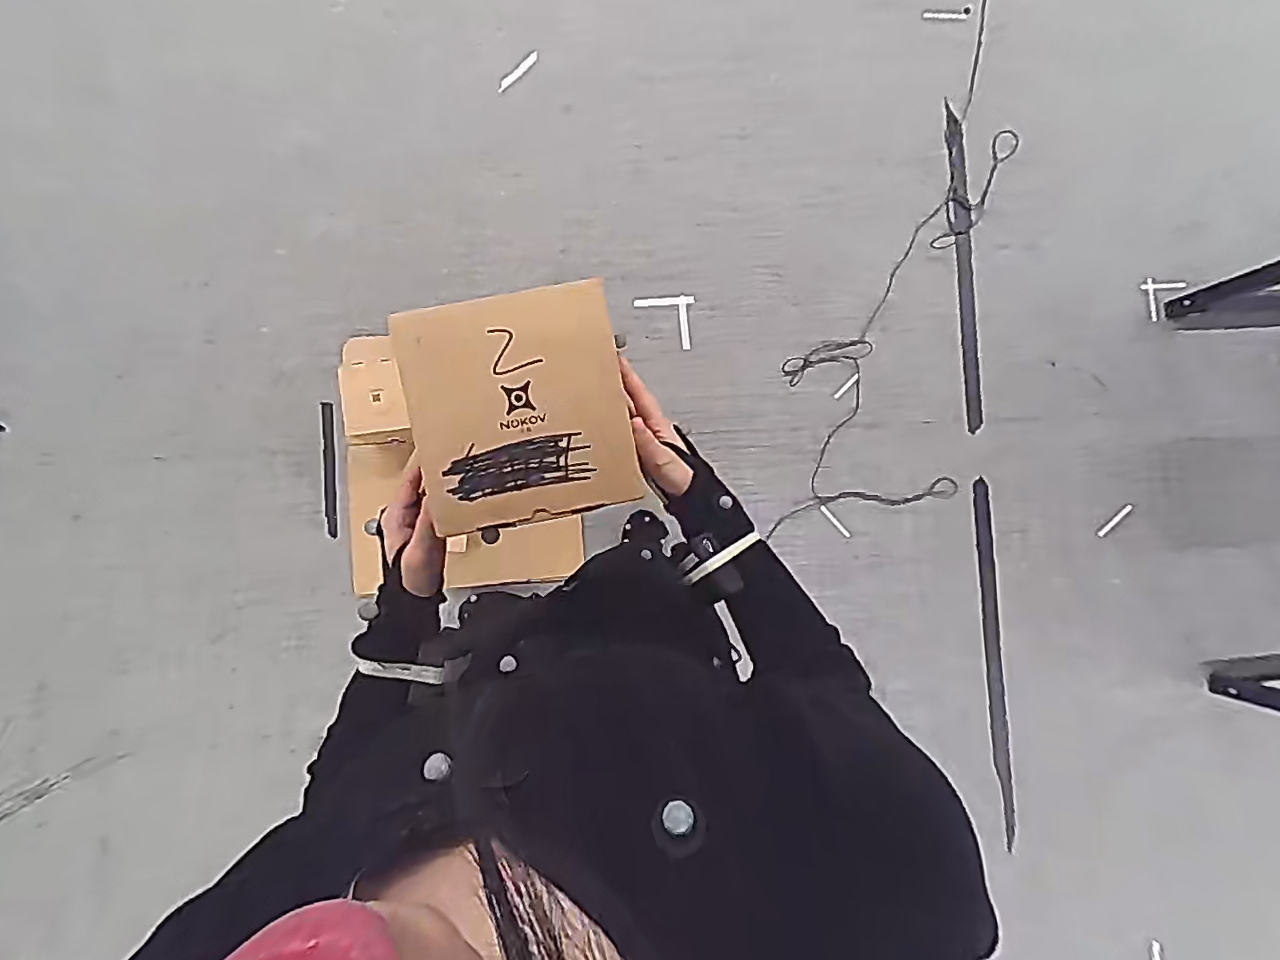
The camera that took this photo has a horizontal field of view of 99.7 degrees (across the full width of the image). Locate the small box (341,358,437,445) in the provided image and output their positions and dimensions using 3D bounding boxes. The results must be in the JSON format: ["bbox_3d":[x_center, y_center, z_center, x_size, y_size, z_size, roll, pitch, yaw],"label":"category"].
[{"bbox_3d":[-0.635,-0.194,1.383,0.168,0.176,0.179,-9,87,-4],"label":"small box"}]

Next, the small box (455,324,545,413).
[{"bbox_3d":[-0.316,-0.250,1.247,0.179,0.176,0.168,0,87,-6],"label":"small box"}]

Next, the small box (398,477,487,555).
[{"bbox_3d":[-0.493,0.088,1.373,0.168,0.176,0.179,5,87,-4],"label":"small box"}]

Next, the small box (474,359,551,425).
[{"bbox_3d":[-0.330,-0.239,1.409,0.179,0.176,0.168,-3,87,-6],"label":"small box"}]
